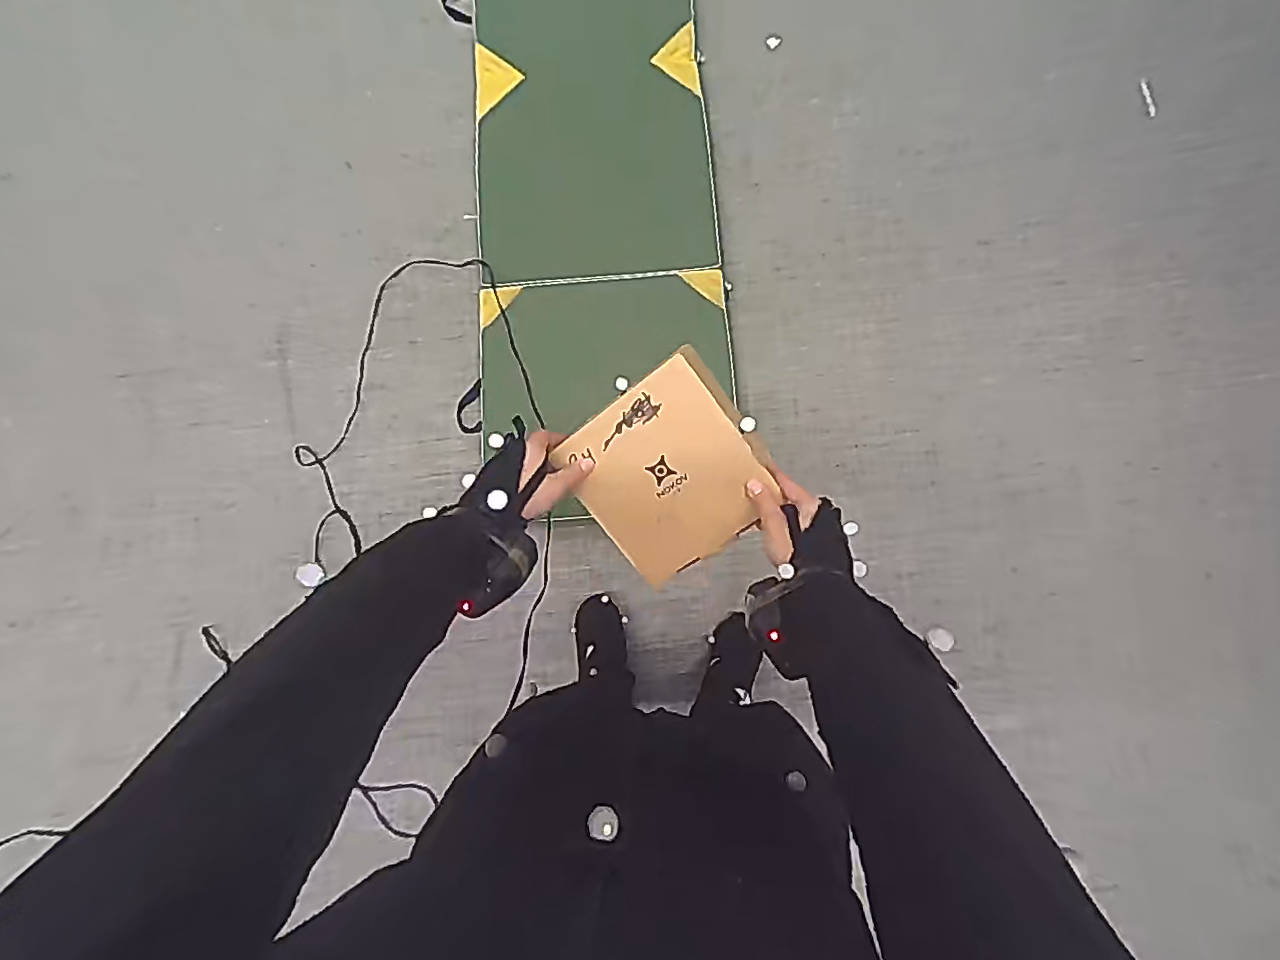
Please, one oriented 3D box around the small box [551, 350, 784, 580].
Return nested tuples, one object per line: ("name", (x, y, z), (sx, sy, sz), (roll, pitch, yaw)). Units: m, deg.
("small box", (0.036, -0.028, 0.600), (0.168, 0.176, 0.179), (-36, 99, 15))
